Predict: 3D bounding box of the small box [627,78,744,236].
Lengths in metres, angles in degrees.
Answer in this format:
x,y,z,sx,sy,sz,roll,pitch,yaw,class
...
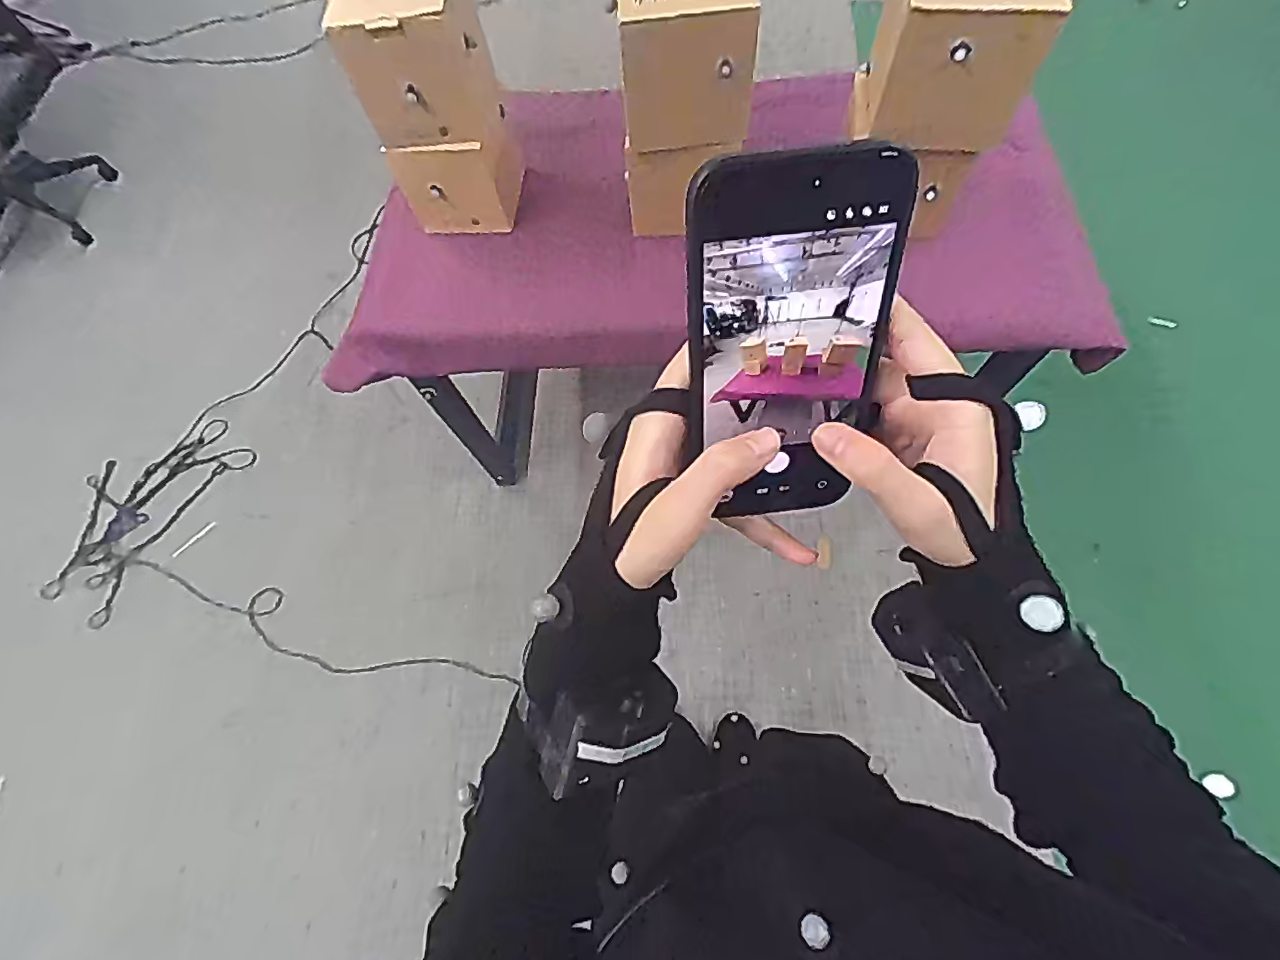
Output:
x,y,z,sx,sy,sz,roll,pitch,yaw,class
0.078,-0.532,0.906,0.179,0.176,0.168,2,67,6,small box

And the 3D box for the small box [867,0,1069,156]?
x,y,z,sx,sy,sz,roll,pitch,yaw,class
0.409,-0.558,0.711,0.179,0.176,0.168,7,68,8,small box

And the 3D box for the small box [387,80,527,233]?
x,y,z,sx,sy,sz,roll,pitch,yaw,class
-0.309,-0.561,0.955,0.168,0.176,0.179,2,67,6,small box

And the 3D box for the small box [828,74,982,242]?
x,y,z,sx,sy,sz,roll,pitch,yaw,class
0.415,-0.509,0.868,0.179,0.176,0.168,7,68,9,small box

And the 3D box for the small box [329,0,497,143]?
x,y,z,sx,sy,sz,roll,pitch,yaw,class
-0.323,-0.633,0.807,0.168,0.176,0.179,-2,67,3,small box
